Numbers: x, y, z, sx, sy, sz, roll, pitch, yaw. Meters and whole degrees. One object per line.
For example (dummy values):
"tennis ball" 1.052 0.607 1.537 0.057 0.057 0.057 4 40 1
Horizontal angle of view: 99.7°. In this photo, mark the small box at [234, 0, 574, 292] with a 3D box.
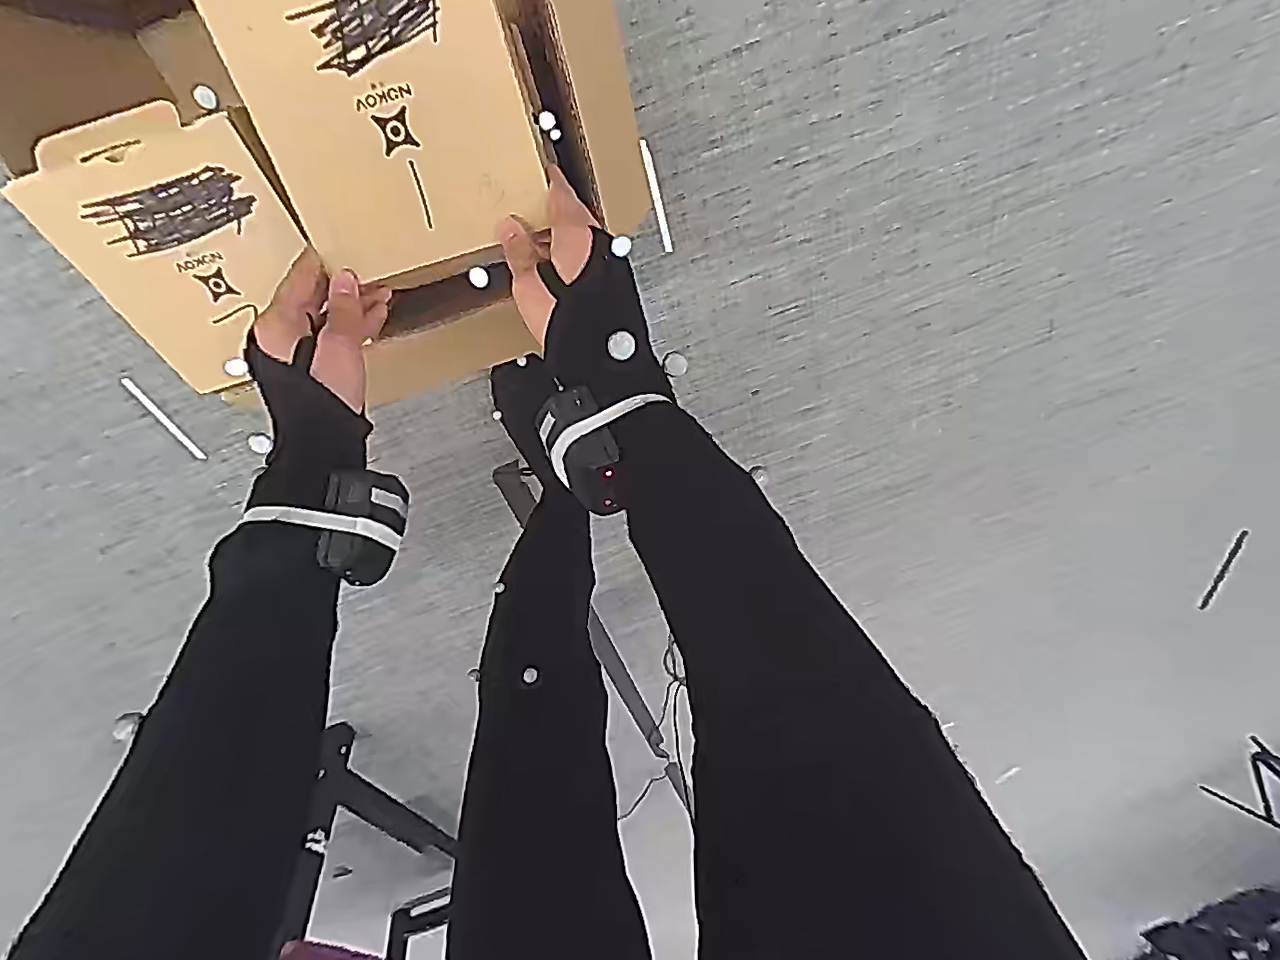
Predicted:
"small box" -0.156 -0.257 0.431 0.168 0.176 0.179 -15 110 1
